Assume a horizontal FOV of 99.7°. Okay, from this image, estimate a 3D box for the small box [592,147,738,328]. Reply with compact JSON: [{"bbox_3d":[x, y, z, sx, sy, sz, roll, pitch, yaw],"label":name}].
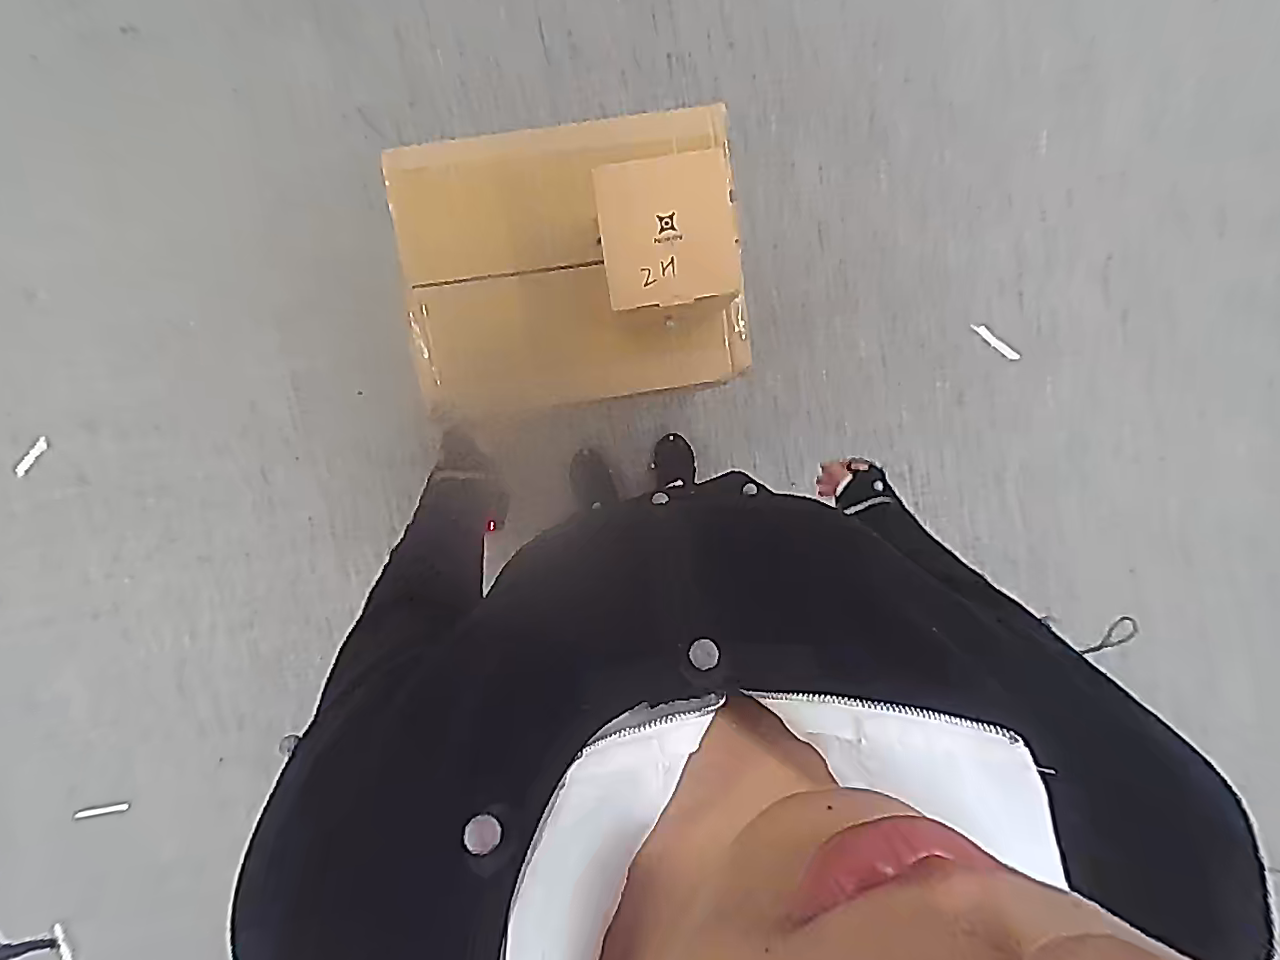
[{"bbox_3d":[0.029,-0.320,0.746,0.168,0.176,0.179,-9,98,0],"label":"small box"}]
